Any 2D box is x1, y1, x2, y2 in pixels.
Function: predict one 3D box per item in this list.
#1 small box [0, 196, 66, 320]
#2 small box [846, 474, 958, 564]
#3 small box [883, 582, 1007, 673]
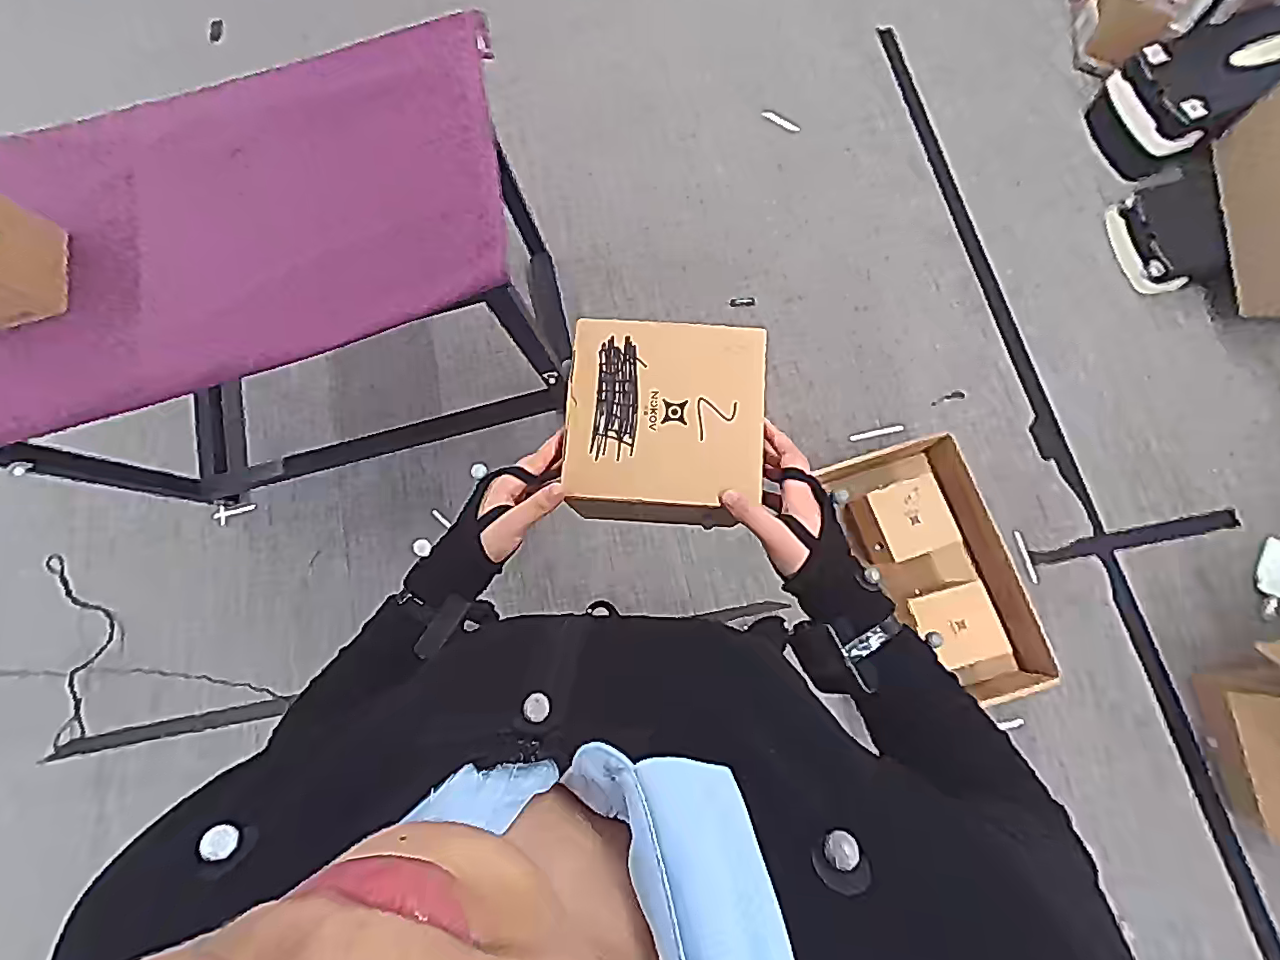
[{"bbox_3d":[-1.157,-0.395,0.934,0.168,0.176,0.179,-13,77,2],"label":"small box"},{"bbox_3d":[0.643,0.103,1.349,0.168,0.176,0.179,-19,78,0],"label":"small box"},{"bbox_3d":[0.718,0.345,1.294,0.179,0.176,0.168,-17,76,2],"label":"small box"}]
